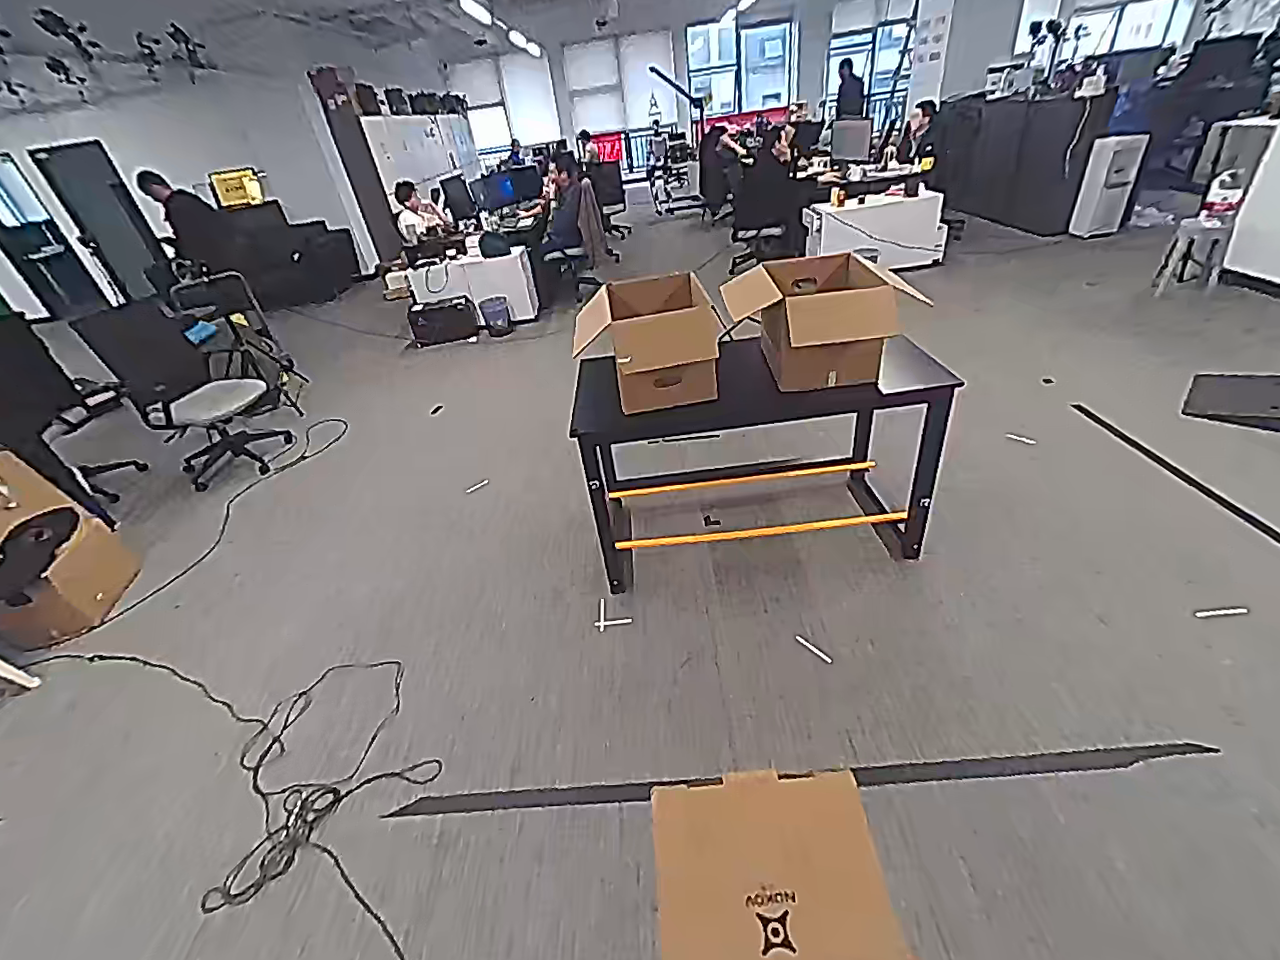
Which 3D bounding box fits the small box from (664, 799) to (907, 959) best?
[{"bbox_3d":[0.111,0.384,0.444,0.168,0.176,0.179,-7,50,2],"label":"small box"}]
